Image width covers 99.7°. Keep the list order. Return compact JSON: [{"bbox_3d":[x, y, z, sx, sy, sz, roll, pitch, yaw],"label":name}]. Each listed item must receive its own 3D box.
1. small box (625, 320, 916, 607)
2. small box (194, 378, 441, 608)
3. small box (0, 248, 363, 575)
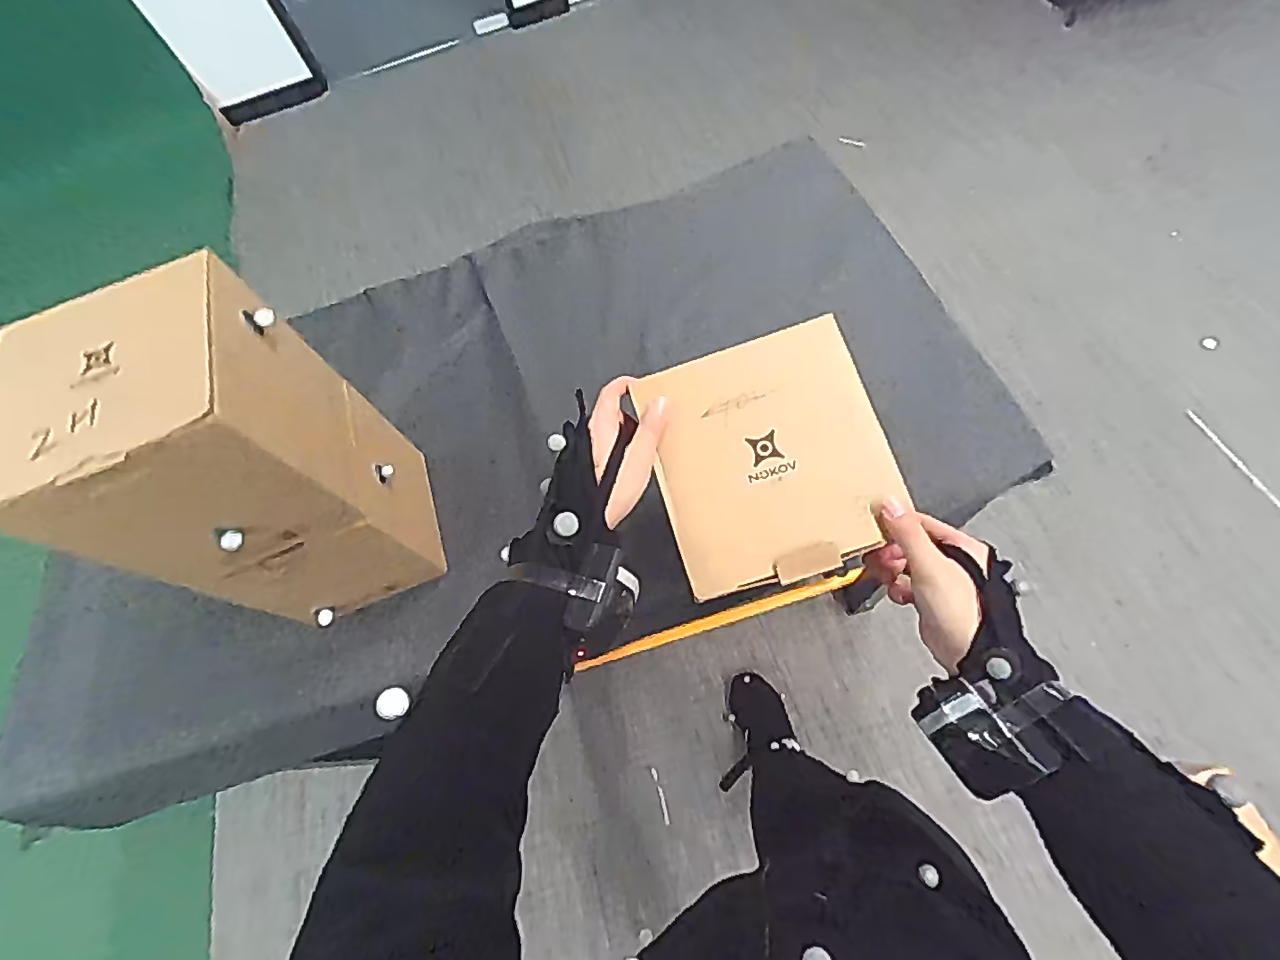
[{"bbox_3d":[0.099,0.000,0.467,0.168,0.176,0.179,-18,76,3],"label":"small box"},{"bbox_3d":[-0.339,0.027,0.595,0.168,0.176,0.179,-21,62,-2],"label":"small box"},{"bbox_3d":[-0.362,-0.046,0.449,0.168,0.176,0.179,-24,63,-3],"label":"small box"}]
